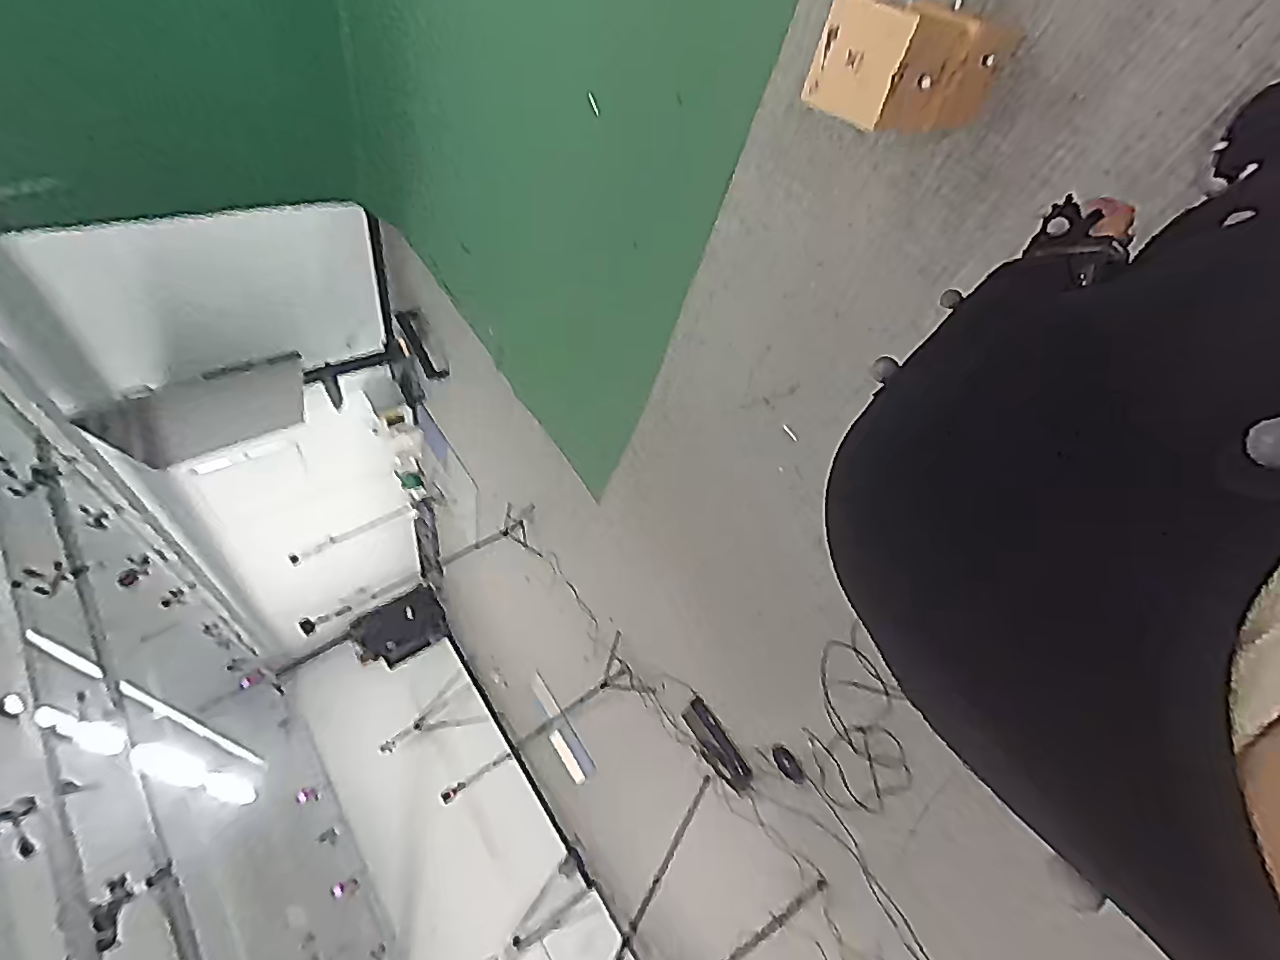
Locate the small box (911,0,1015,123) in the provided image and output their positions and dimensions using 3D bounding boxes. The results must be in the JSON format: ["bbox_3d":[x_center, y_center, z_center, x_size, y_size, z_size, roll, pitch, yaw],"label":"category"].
[{"bbox_3d":[0.578,-0.825,1.055,0.179,0.176,0.168,48,144,25],"label":"small box"}]

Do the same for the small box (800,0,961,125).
[{"bbox_3d":[0.437,-0.774,0.985,0.179,0.176,0.168,46,143,25],"label":"small box"}]
